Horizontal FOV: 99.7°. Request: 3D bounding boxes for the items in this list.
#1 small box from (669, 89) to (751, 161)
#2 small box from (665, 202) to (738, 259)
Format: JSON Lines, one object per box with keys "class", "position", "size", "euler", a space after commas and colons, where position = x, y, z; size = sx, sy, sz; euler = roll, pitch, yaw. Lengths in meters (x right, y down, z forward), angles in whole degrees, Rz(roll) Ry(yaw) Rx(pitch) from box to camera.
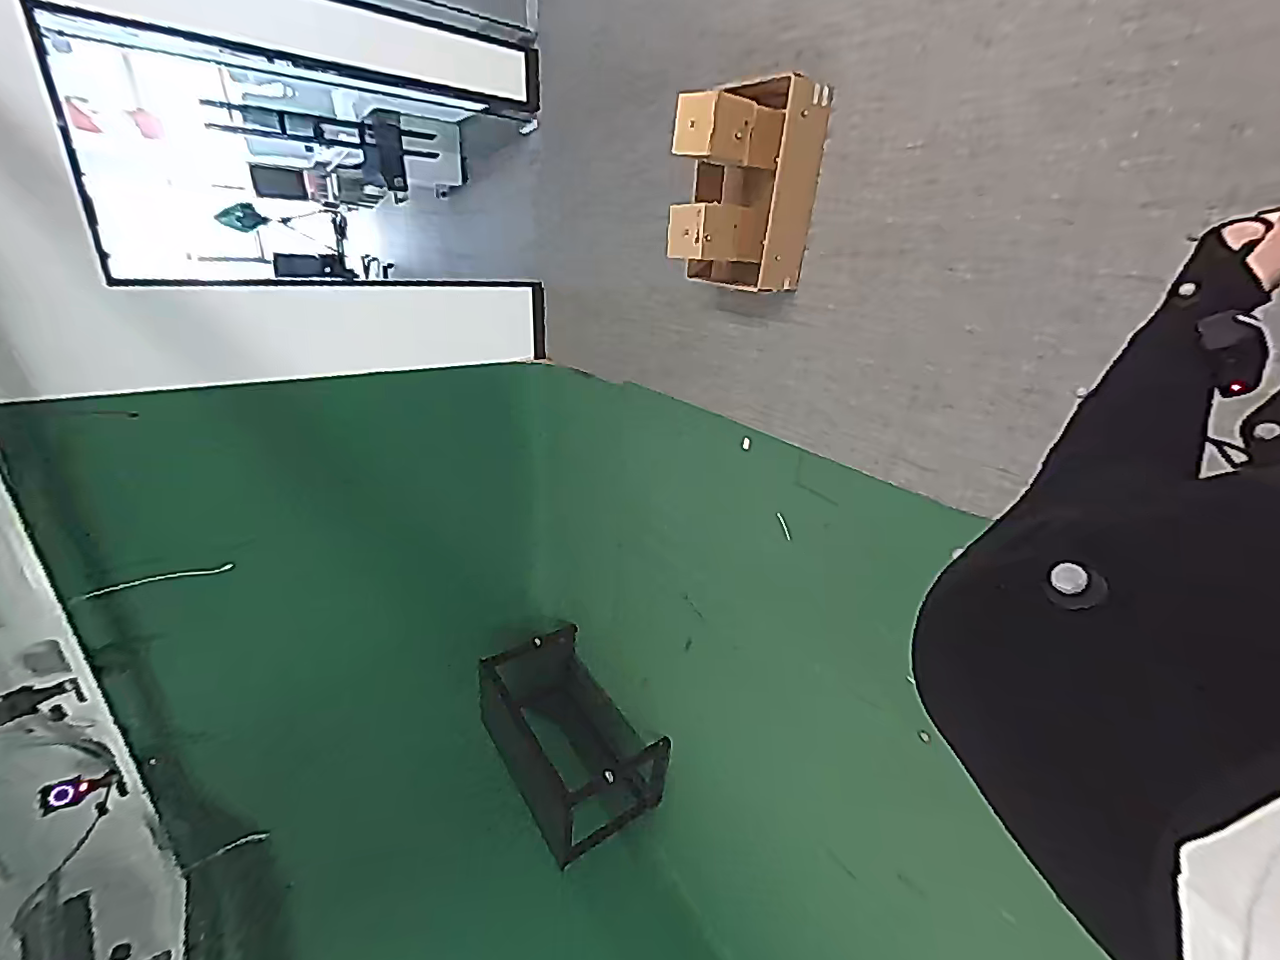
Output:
{"class": "small box", "position": [0.218, -1.114, 1.706], "size": [0.179, 0.176, 0.168], "euler": [35, 128, 42]}
{"class": "small box", "position": [0.205, -0.837, 1.822], "size": [0.179, 0.176, 0.168], "euler": [29, 125, 47]}
